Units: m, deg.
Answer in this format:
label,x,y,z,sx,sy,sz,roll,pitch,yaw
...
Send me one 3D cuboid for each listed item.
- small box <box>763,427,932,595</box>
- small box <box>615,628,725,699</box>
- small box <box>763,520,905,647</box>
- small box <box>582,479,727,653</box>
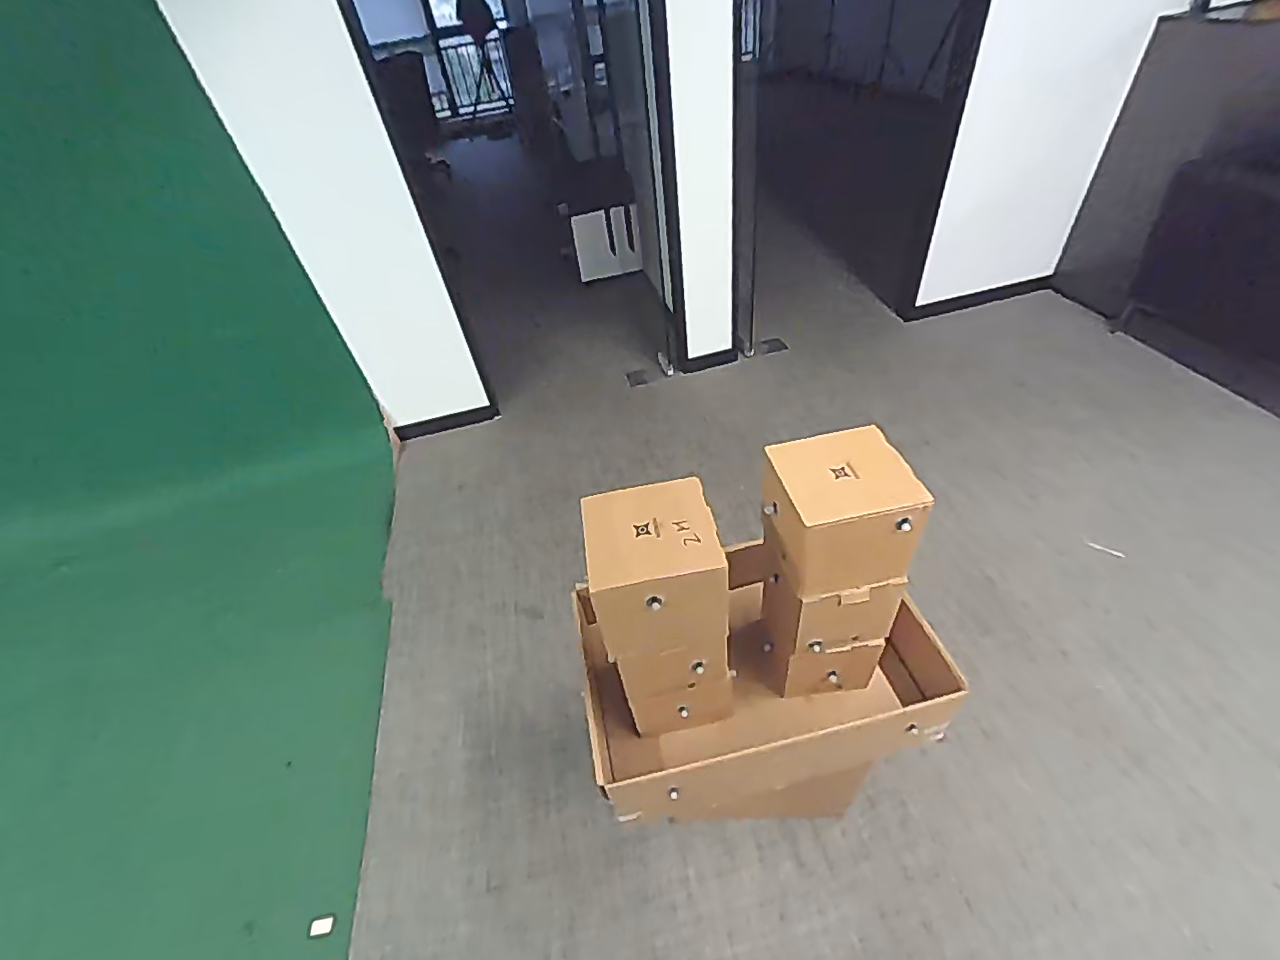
label,x,y,z,sx,sy,sz,roll,pitch,yaw
small box,0.291,0.049,0.805,0.179,0.176,0.168,-11,44,-3
small box,0.039,0.238,0.889,0.168,0.176,0.179,-12,44,-4
small box,0.315,0.165,0.917,0.168,0.176,0.179,-11,43,-2
small box,0.021,0.126,0.769,0.179,0.176,0.168,-10,45,-2
